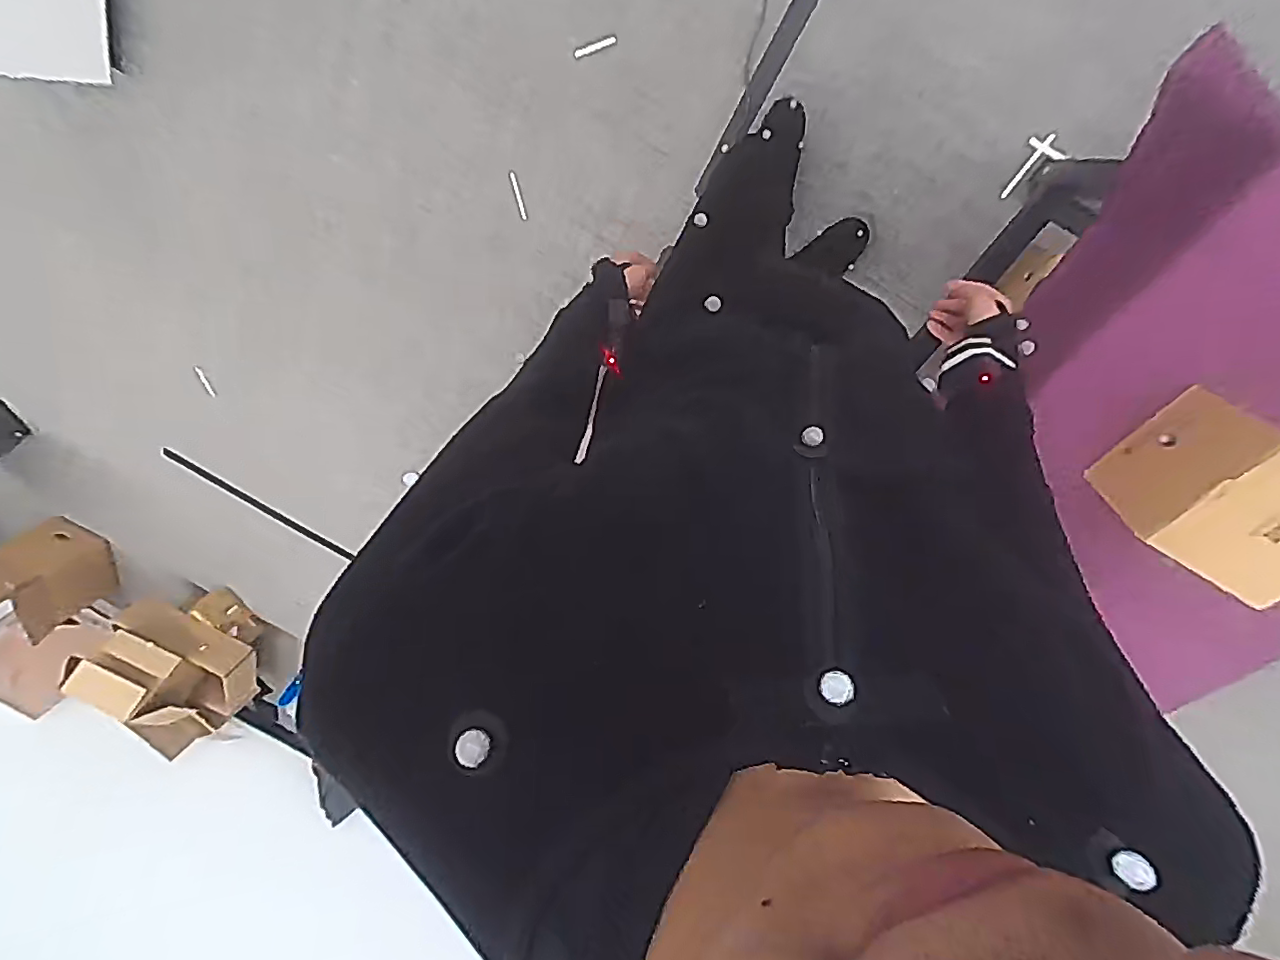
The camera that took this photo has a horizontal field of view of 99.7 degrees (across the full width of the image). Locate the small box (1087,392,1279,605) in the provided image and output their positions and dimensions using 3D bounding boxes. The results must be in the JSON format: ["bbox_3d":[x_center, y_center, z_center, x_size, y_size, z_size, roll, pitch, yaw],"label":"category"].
[{"bbox_3d":[0.733,0.015,0.681,0.179,0.176,0.168,30,124,-2],"label":"small box"}]
